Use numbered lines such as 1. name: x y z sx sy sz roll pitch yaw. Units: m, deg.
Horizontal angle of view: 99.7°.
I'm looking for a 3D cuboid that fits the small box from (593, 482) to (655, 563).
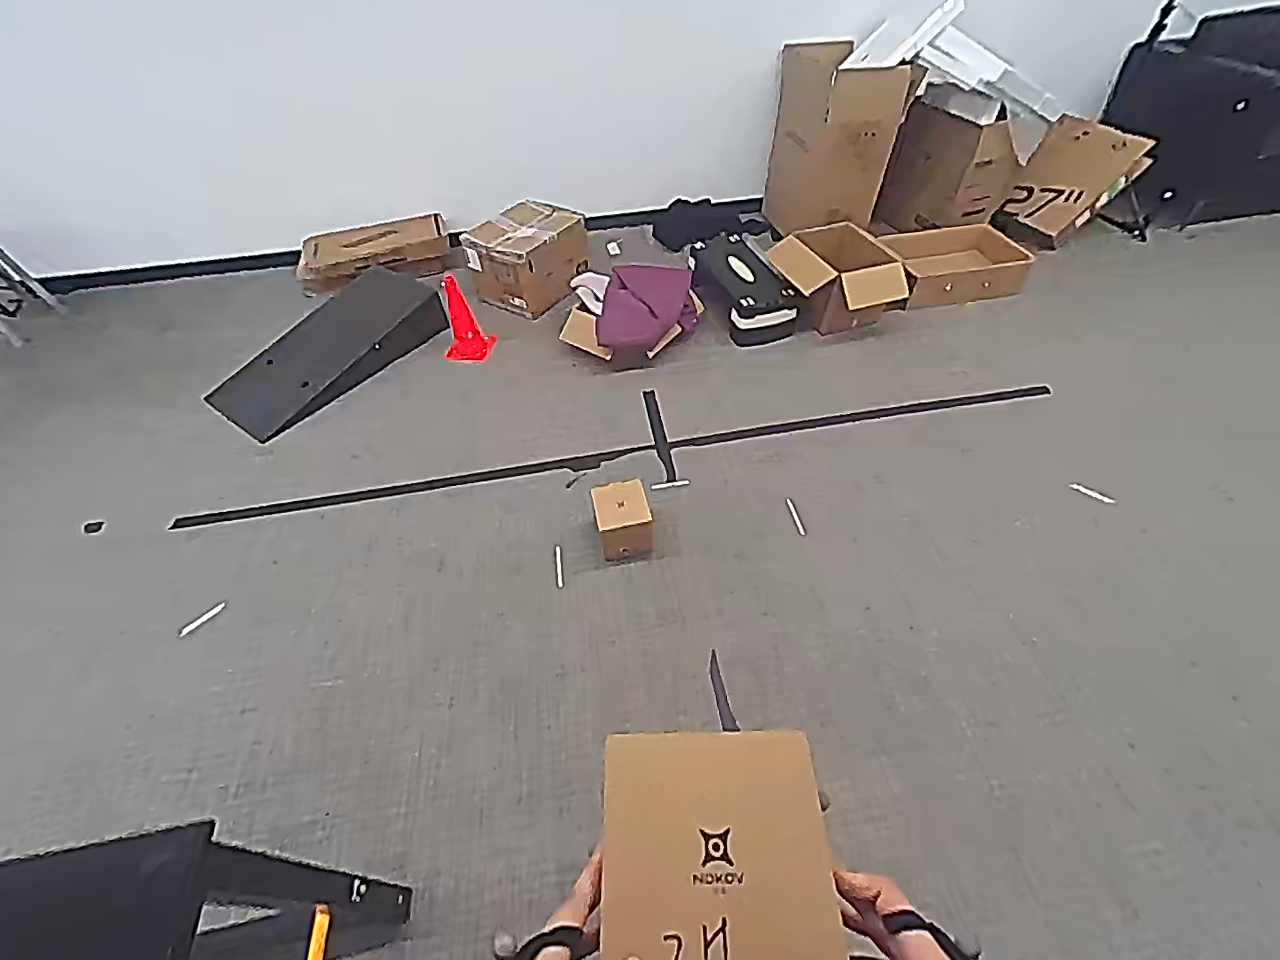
1. small box: -0.051 0.138 1.730 0.168 0.176 0.179 -12 50 -6
